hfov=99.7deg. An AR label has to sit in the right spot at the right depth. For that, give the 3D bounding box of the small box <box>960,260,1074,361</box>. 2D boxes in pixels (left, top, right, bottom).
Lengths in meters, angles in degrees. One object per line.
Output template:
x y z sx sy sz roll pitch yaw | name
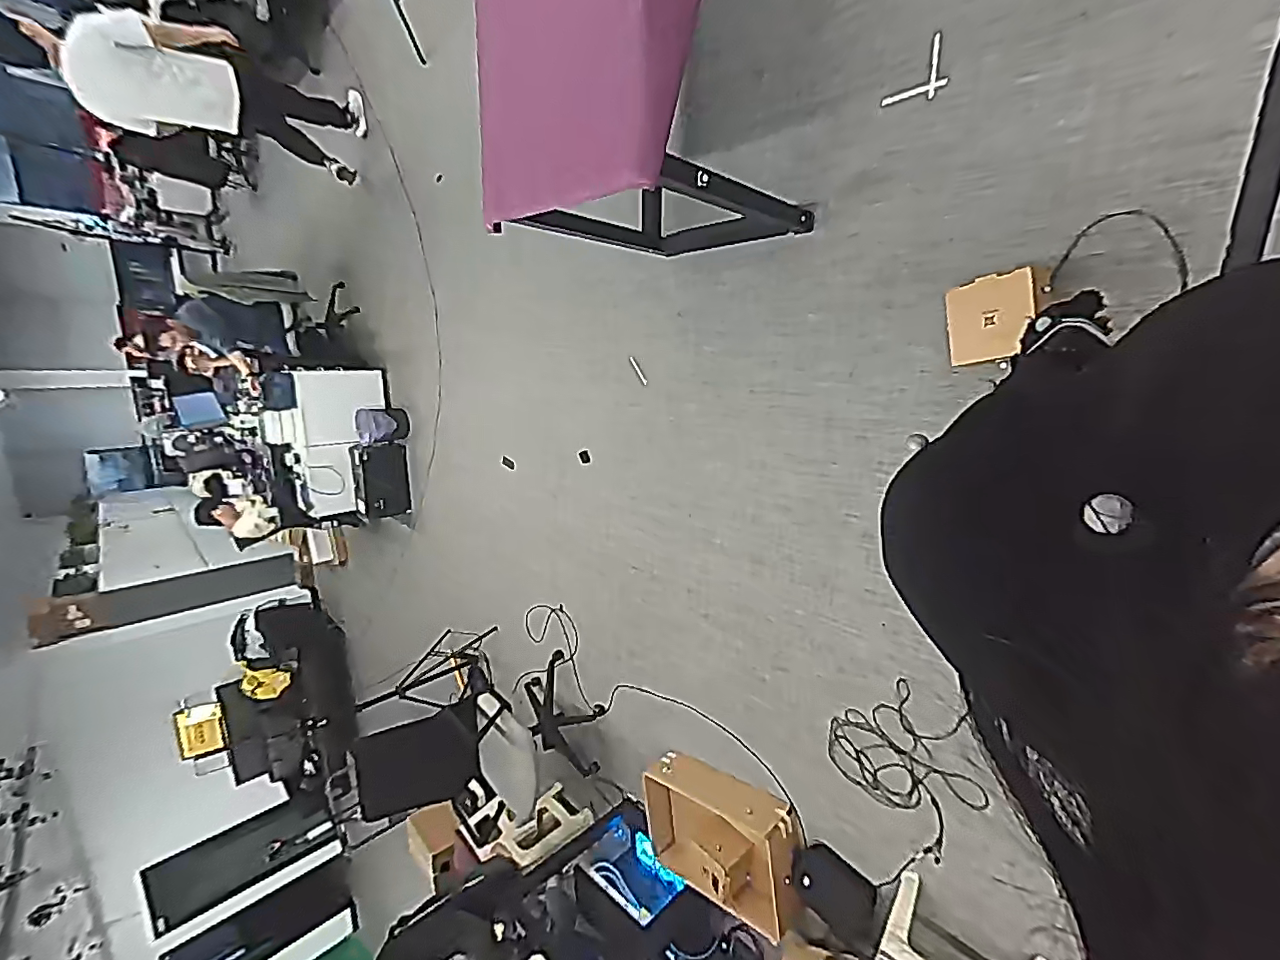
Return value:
0.837 -0.366 1.199 0.168 0.176 0.179 -5 96 51 | small box
